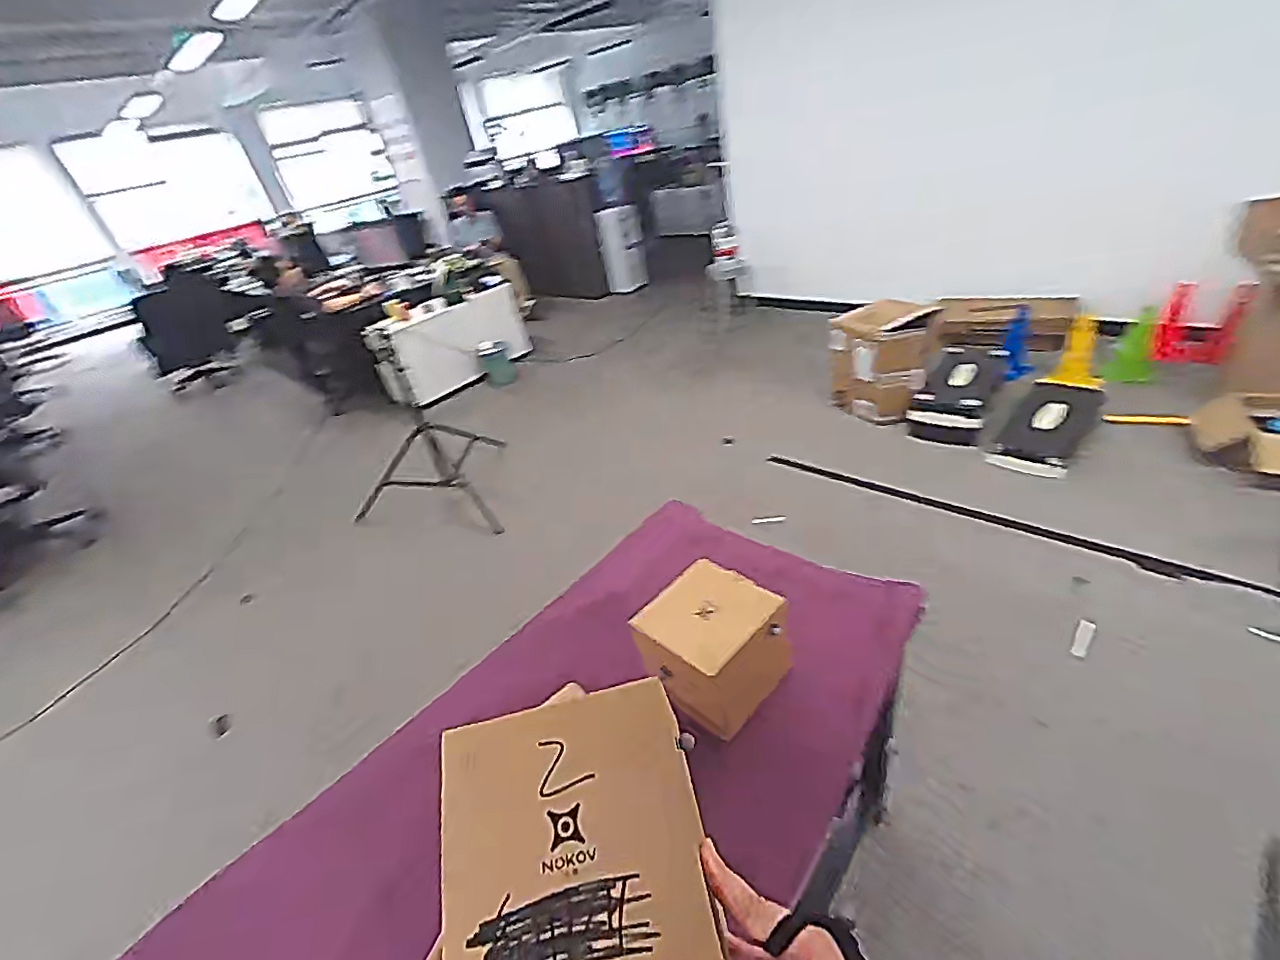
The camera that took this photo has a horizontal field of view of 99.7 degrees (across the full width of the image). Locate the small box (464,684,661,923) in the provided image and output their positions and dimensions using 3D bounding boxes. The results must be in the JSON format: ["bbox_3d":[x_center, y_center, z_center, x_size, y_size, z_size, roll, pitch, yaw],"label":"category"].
[{"bbox_3d":[-0.093,0.417,0.706,0.179,0.176,0.168,-33,39,-28],"label":"small box"}]

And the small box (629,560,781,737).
[{"bbox_3d":[0.112,0.265,0.863,0.179,0.176,0.168,-36,38,-31],"label":"small box"}]
